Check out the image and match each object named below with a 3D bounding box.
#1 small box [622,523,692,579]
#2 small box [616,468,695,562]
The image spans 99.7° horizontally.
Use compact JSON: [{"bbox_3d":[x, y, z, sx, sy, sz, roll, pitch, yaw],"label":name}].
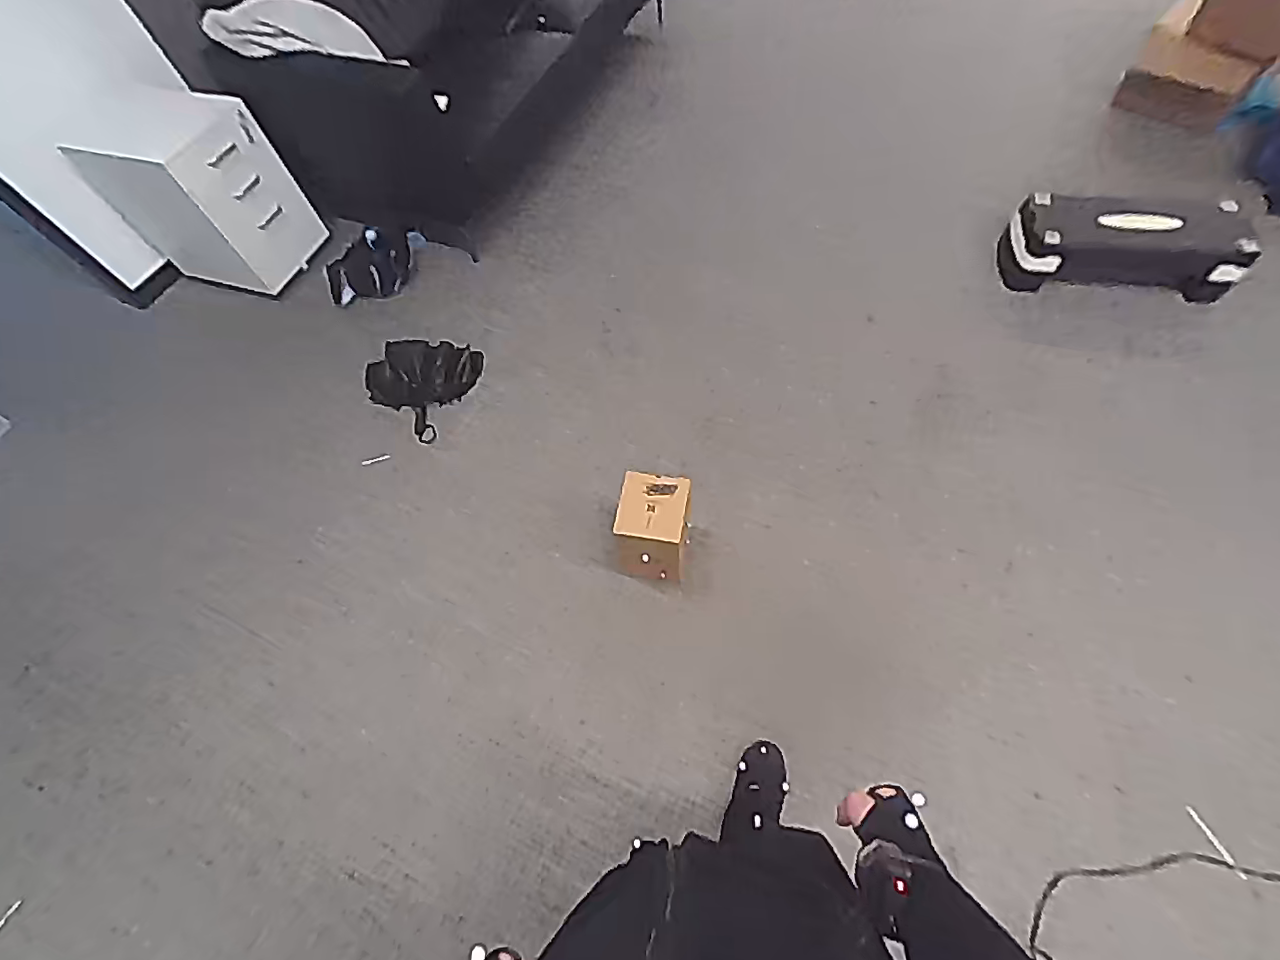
[{"bbox_3d":[0.055,0.166,1.530,0.168,0.176,0.179,7,61,10],"label":"small box"},{"bbox_3d":[0.044,0.092,1.384,0.168,0.176,0.179,8,64,10],"label":"small box"}]
